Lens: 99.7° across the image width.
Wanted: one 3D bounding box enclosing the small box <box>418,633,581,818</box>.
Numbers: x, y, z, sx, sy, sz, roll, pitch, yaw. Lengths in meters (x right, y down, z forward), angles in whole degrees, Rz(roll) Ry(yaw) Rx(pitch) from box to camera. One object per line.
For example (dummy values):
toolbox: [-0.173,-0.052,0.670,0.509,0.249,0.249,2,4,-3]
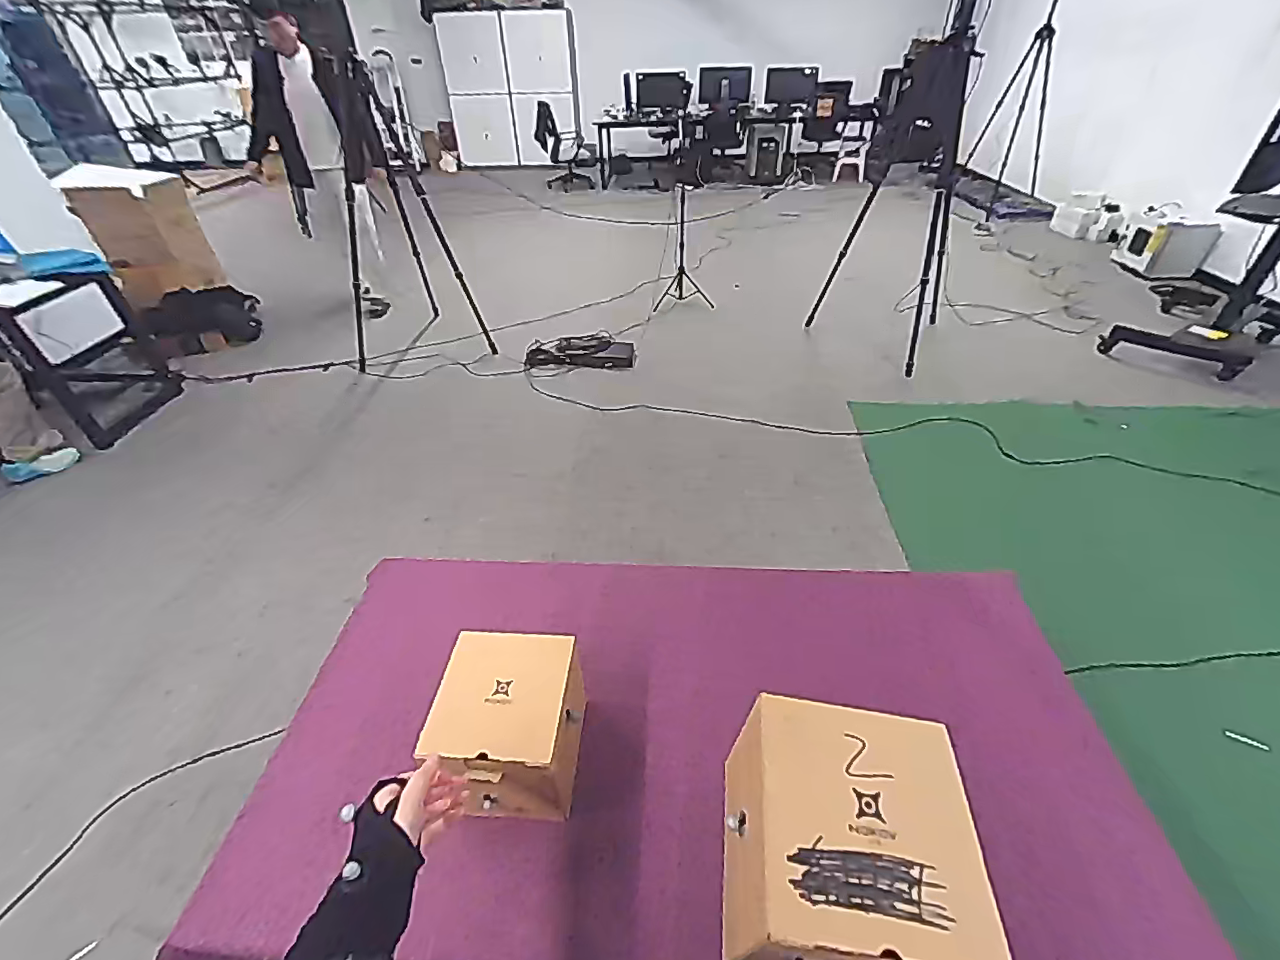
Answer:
small box: [-0.179,0.339,0.755,0.168,0.176,0.179,2,40,4]
